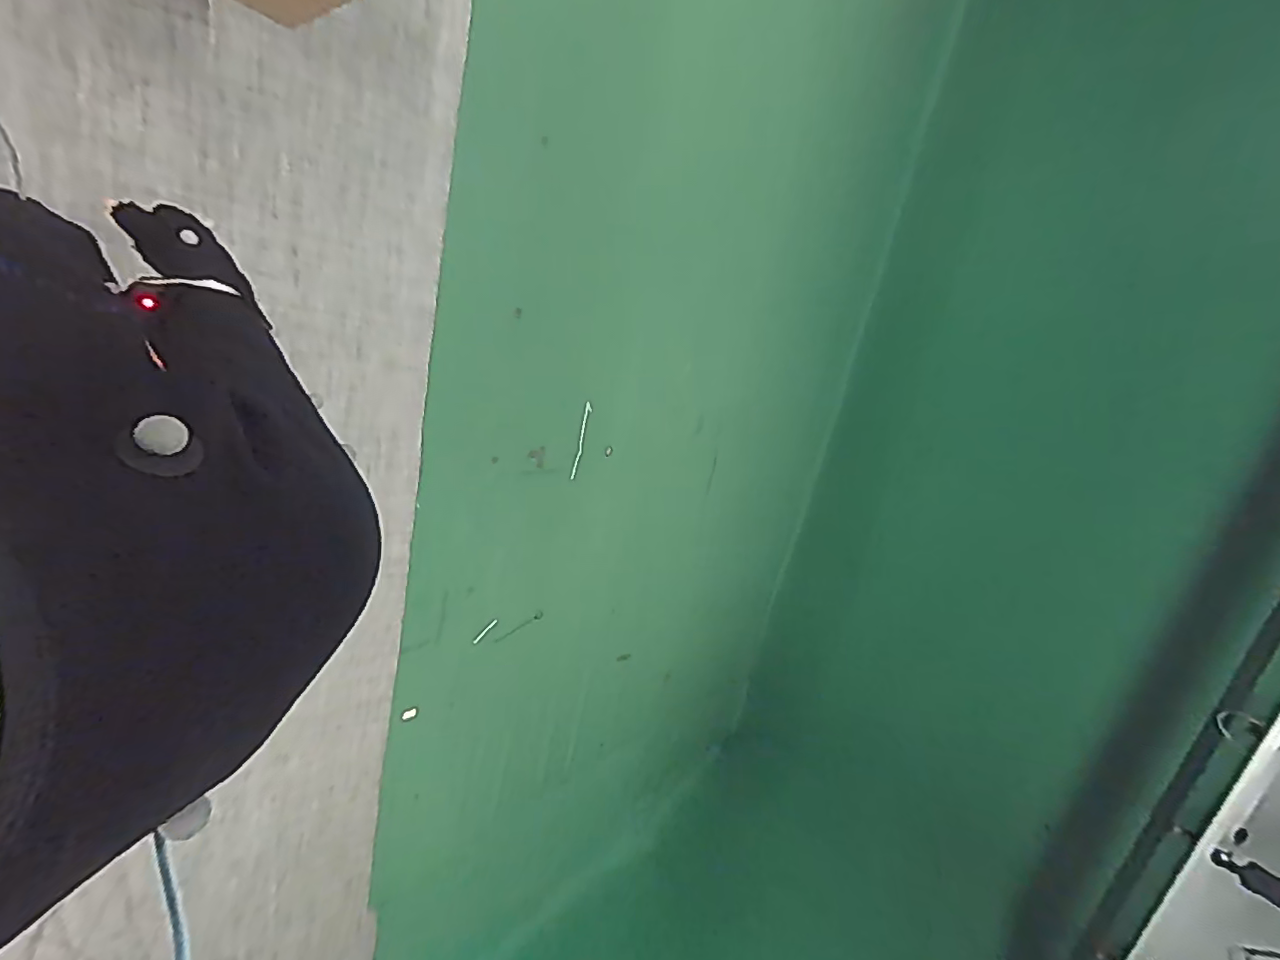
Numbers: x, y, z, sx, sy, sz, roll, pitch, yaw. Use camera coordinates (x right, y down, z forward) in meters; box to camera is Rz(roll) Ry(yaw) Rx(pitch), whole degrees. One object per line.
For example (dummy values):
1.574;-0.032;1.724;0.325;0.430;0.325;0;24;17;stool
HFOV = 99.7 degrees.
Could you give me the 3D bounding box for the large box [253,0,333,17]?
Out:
-0.629;-0.929;0.726;0.408;0.320;0.320;-3;112;-49;large box
